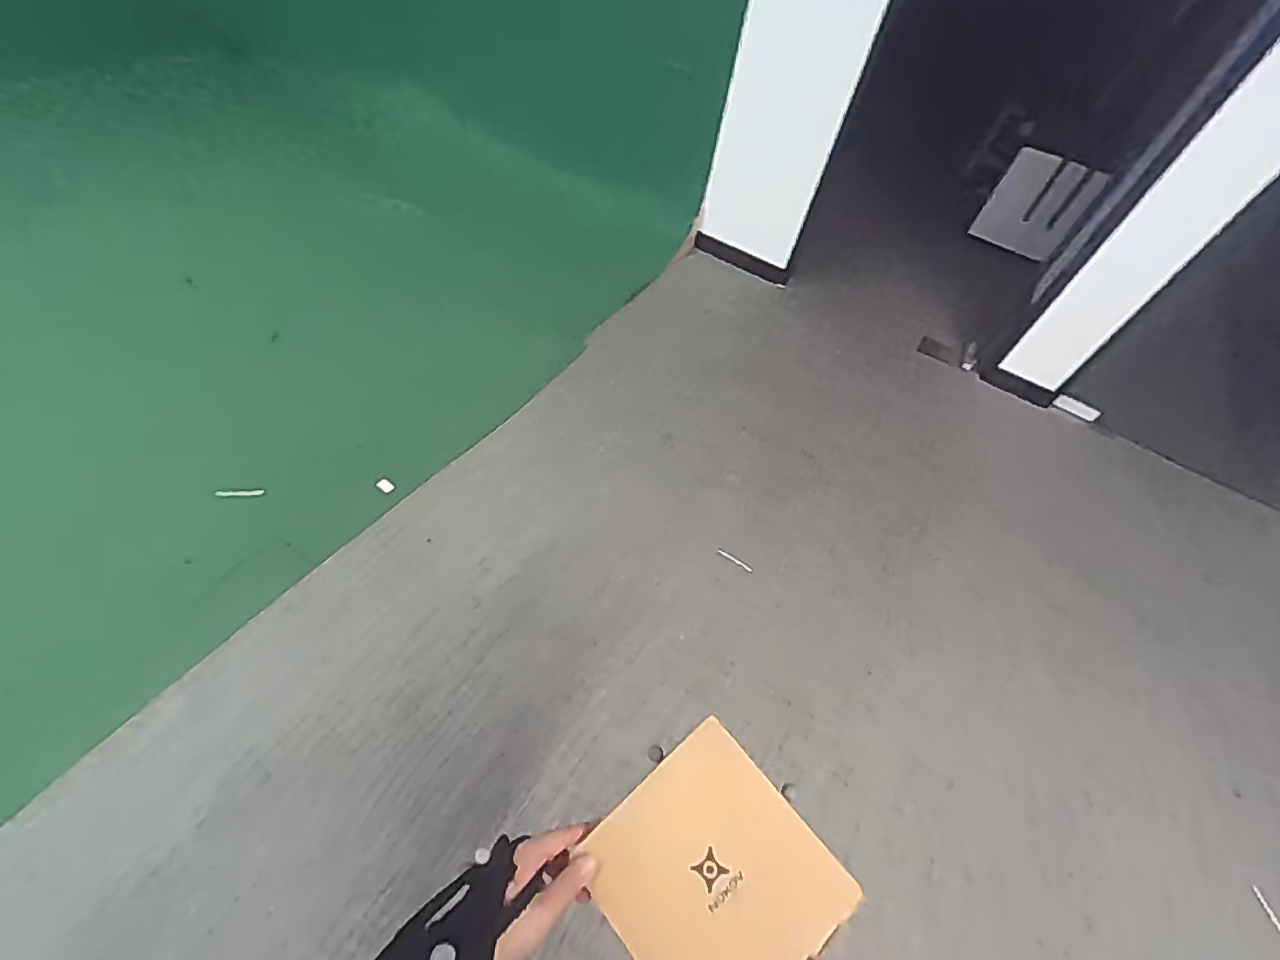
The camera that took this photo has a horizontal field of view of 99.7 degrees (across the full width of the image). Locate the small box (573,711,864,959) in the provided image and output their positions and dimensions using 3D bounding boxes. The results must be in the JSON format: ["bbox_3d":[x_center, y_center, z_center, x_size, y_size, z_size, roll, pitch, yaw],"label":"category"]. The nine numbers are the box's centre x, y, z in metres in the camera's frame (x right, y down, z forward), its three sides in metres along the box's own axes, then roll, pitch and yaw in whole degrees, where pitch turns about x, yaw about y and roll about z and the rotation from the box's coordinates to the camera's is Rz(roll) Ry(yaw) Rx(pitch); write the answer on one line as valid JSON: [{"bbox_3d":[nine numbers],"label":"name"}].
[{"bbox_3d":[0.061,0.346,0.501,0.168,0.176,0.179,-39,70,-16],"label":"small box"}]
